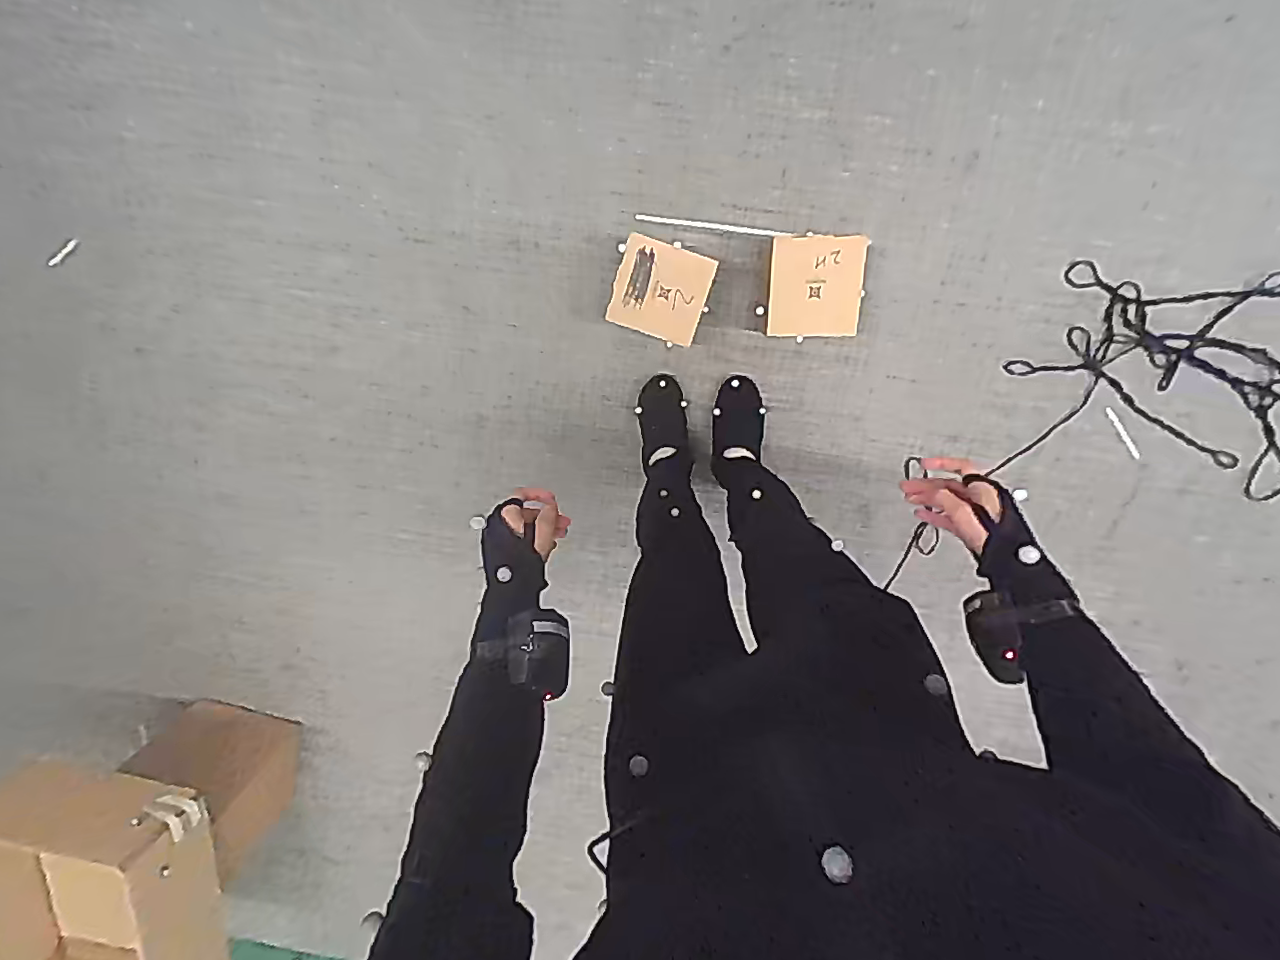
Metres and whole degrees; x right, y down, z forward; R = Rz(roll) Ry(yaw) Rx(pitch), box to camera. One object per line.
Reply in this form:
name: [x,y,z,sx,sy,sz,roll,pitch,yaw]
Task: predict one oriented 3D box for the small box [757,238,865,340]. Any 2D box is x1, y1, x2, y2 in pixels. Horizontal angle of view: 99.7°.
small box: [0.323,-0.370,1.057,0.168,0.176,0.179,2,107,5]
